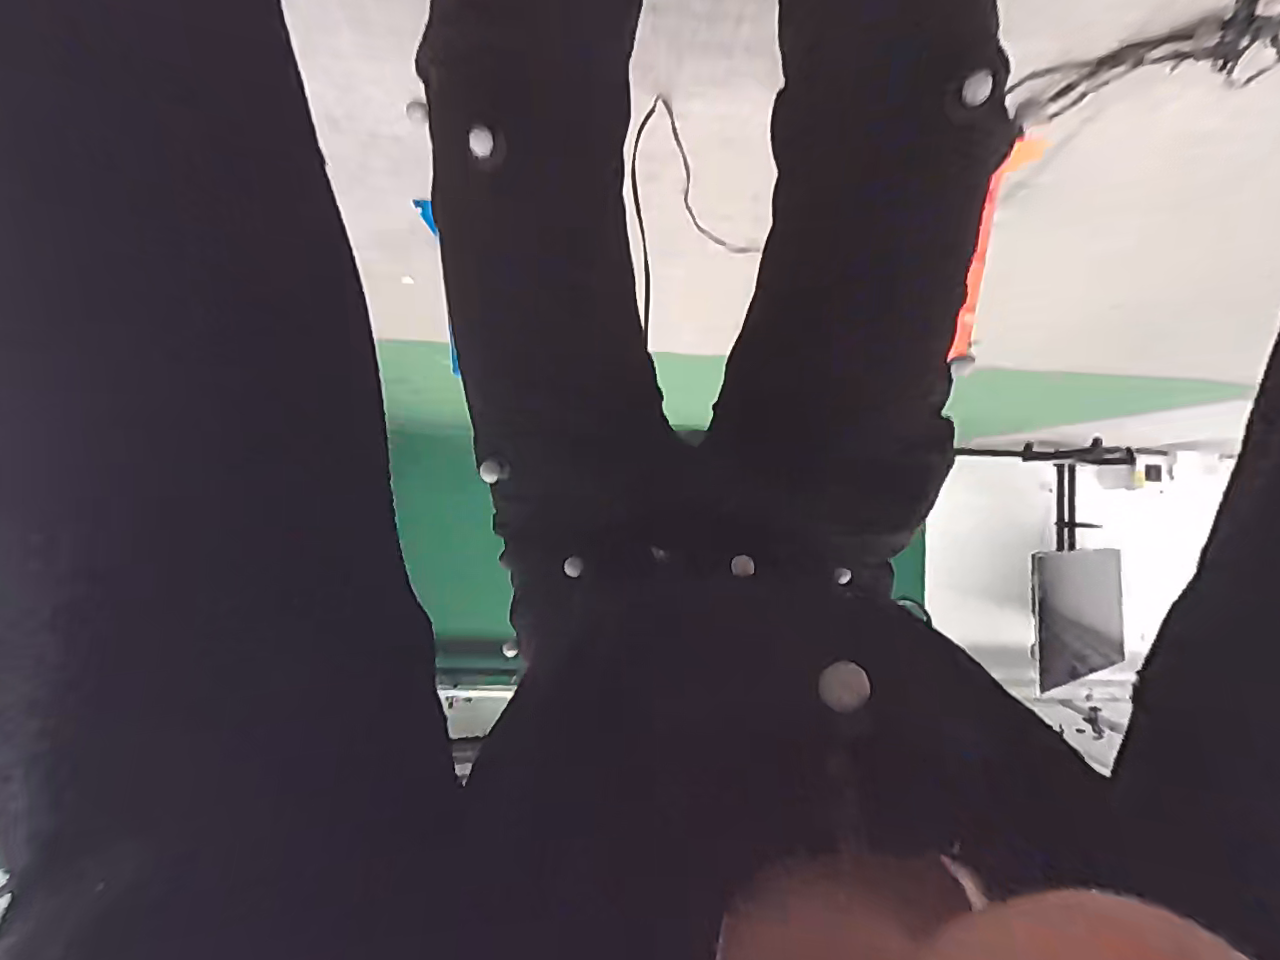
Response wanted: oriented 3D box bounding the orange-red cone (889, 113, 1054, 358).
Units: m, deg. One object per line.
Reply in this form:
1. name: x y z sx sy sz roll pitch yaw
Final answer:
1. orange-red cone: 0.574 -0.396 0.951 0.199 0.360 0.198 2 179 -22
